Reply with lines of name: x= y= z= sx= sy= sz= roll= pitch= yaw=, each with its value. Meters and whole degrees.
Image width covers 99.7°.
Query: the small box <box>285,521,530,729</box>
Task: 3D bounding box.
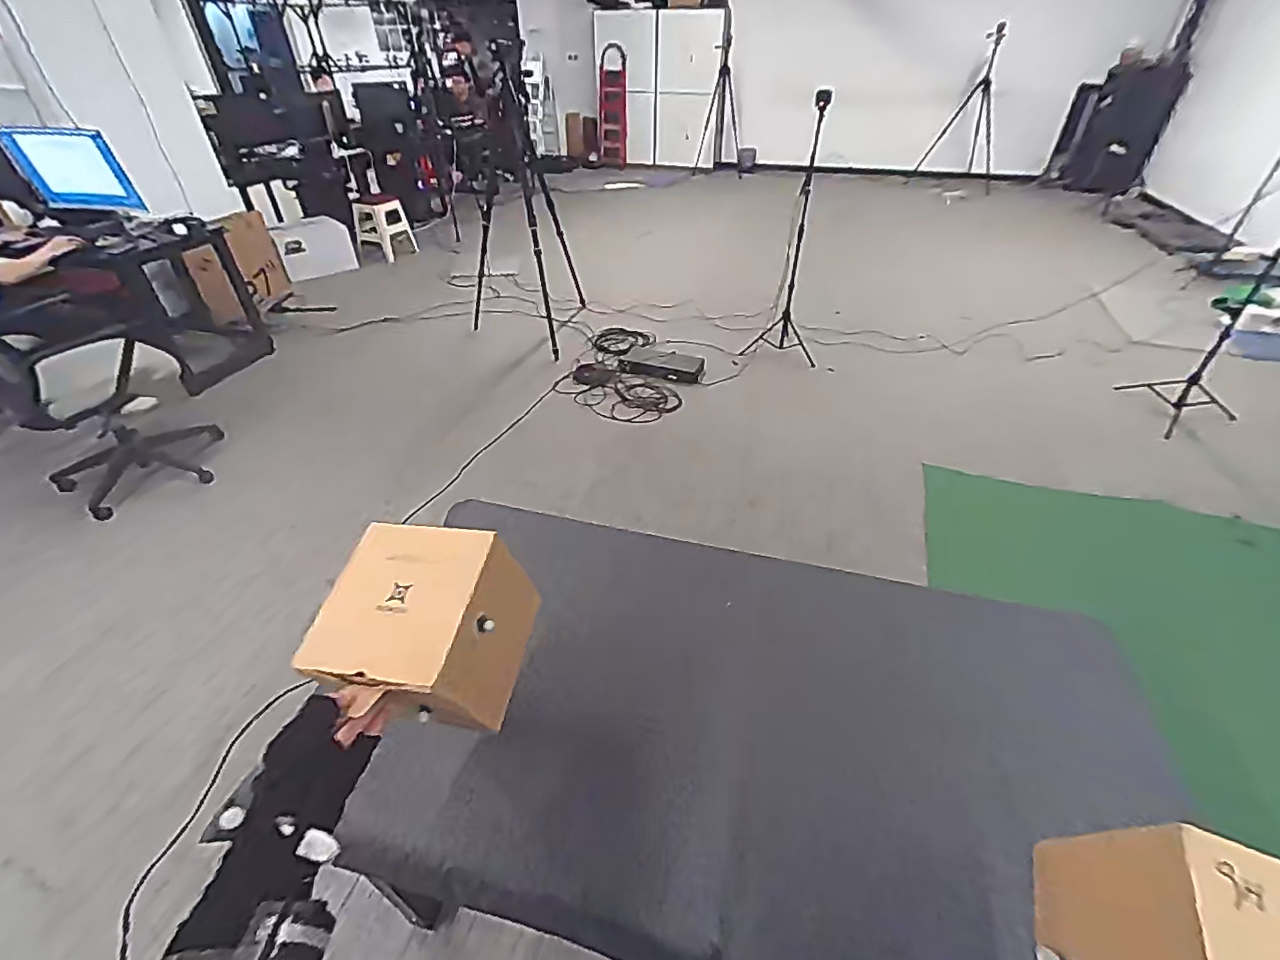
small box: x=-0.243 y=0.169 z=0.622 sx=0.168 sy=0.176 sz=0.179 roll=3 pitch=53 yaw=13

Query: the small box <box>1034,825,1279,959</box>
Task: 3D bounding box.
small box: x=0.391 y=0.360 z=0.351 sx=0.168 sy=0.176 sz=0.179 roll=18 pitch=56 yaw=12
